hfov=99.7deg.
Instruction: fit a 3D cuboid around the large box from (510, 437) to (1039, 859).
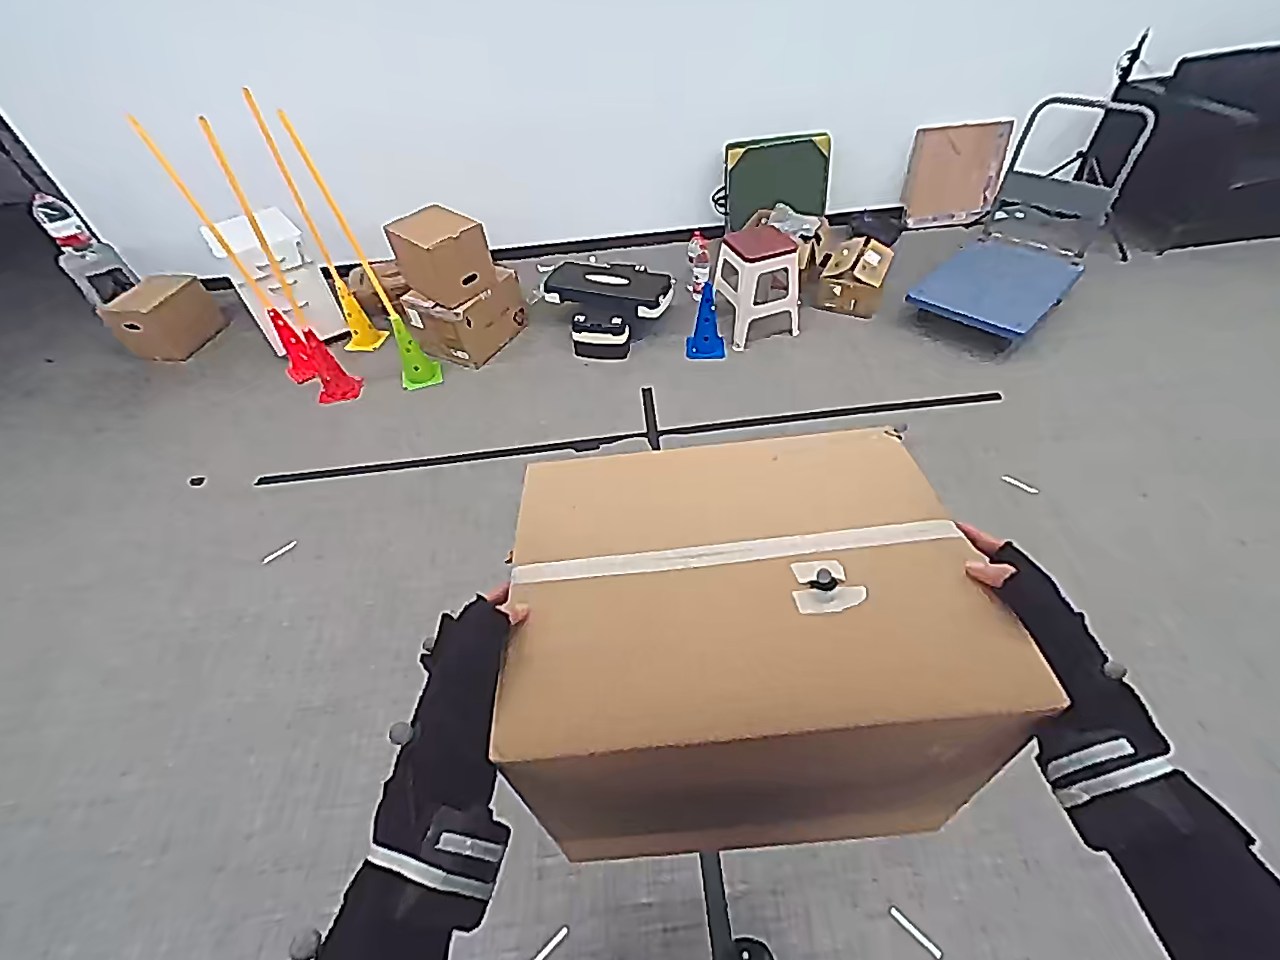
[{"bbox_3d":[0.100,0.185,0.604,0.408,0.320,0.320,-6,44,1],"label":"large box"}]
